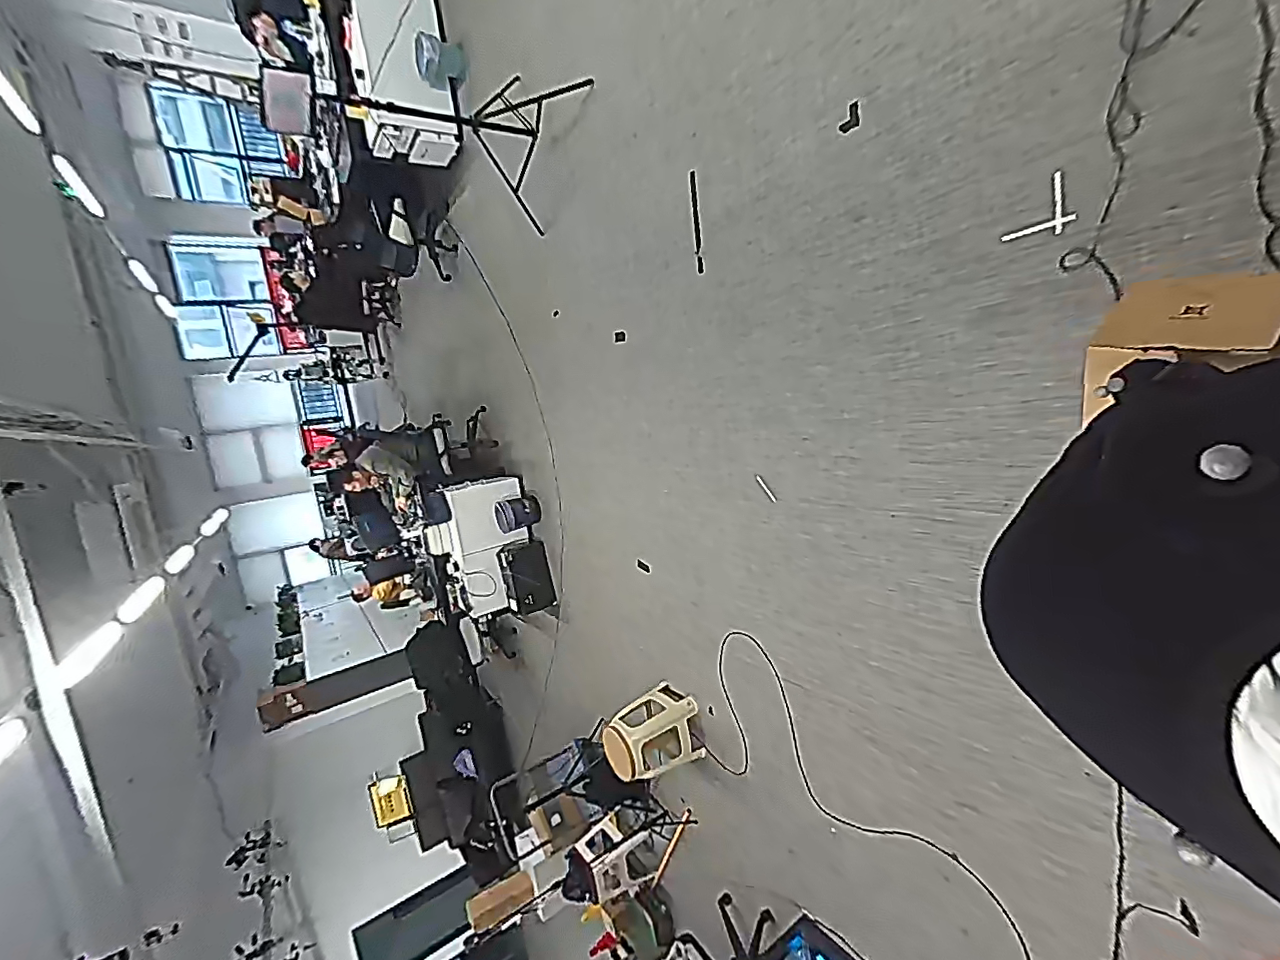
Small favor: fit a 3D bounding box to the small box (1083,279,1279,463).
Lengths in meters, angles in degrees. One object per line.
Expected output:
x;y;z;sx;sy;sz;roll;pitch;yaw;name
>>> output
0.726;-0.146;0.723;0.168;0.179;0.176;21;145;50;small box
